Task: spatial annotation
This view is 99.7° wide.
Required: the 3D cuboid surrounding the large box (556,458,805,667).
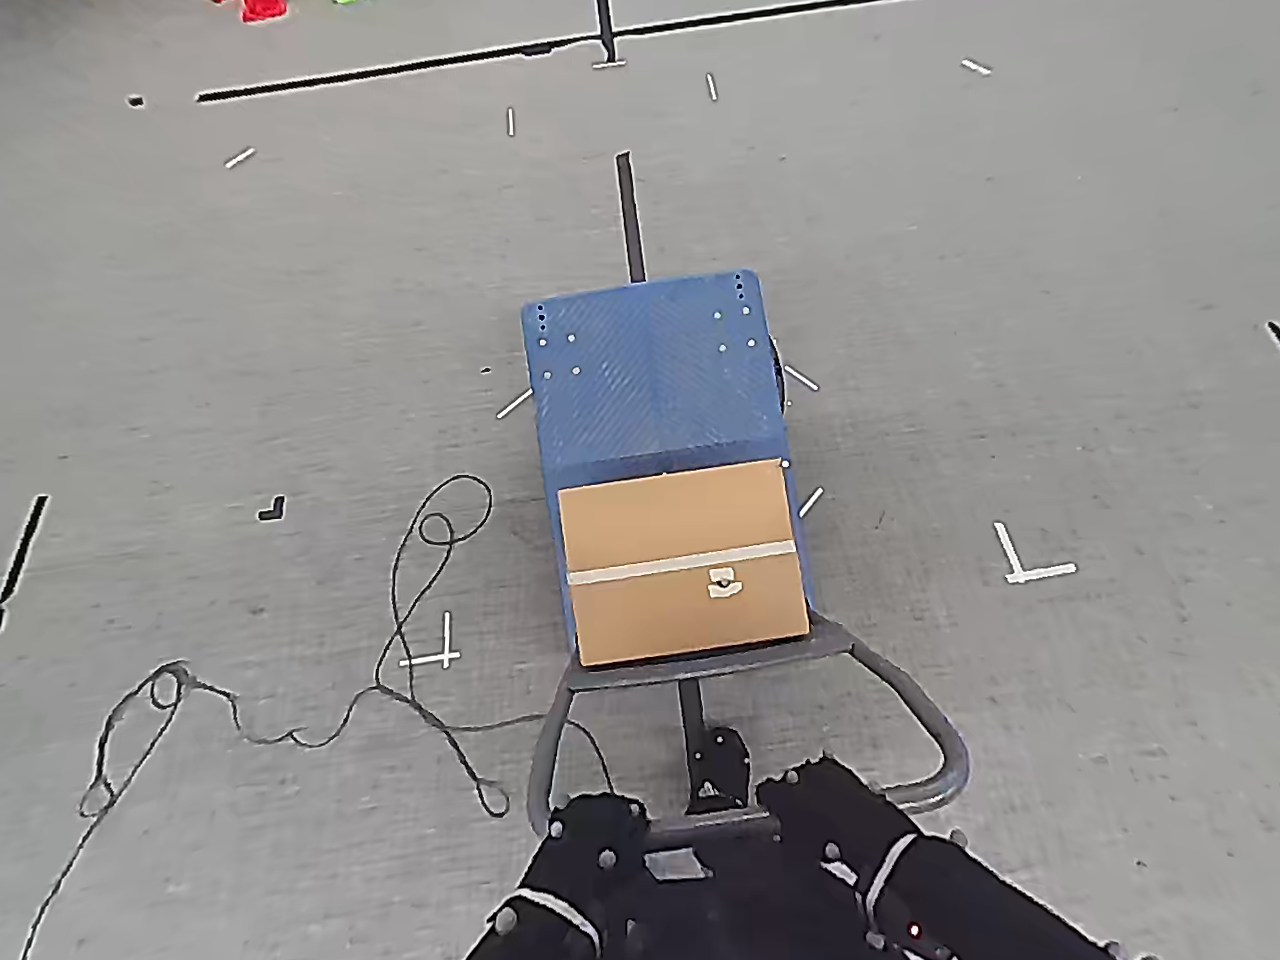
[{"bbox_3d":[0.068,0.155,1.096,0.408,0.320,0.320,-9,87,-1],"label":"large box"}]
